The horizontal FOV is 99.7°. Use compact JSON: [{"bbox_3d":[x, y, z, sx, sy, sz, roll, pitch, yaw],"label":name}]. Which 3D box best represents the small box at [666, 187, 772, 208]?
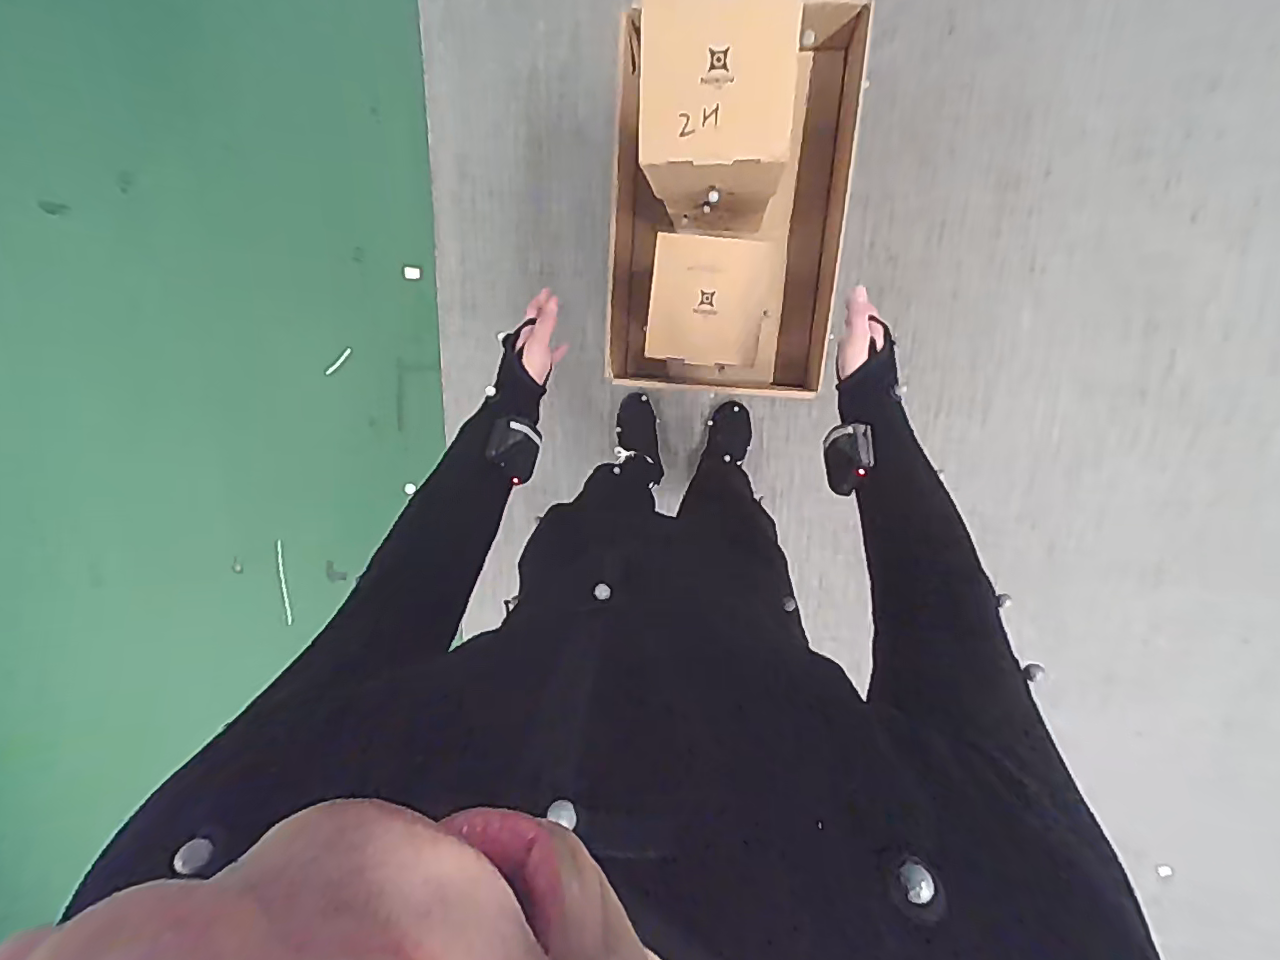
[{"bbox_3d":[0.117,-0.515,0.793,0.168,0.176,0.179,6,107,6],"label":"small box"}]

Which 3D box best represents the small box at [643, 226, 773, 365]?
[{"bbox_3d":[0.105,-0.279,0.846,0.168,0.176,0.179,9,104,6],"label":"small box"}]

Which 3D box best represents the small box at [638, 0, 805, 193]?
[{"bbox_3d":[0.093,-0.457,0.639,0.168,0.176,0.179,4,107,8],"label":"small box"}]
